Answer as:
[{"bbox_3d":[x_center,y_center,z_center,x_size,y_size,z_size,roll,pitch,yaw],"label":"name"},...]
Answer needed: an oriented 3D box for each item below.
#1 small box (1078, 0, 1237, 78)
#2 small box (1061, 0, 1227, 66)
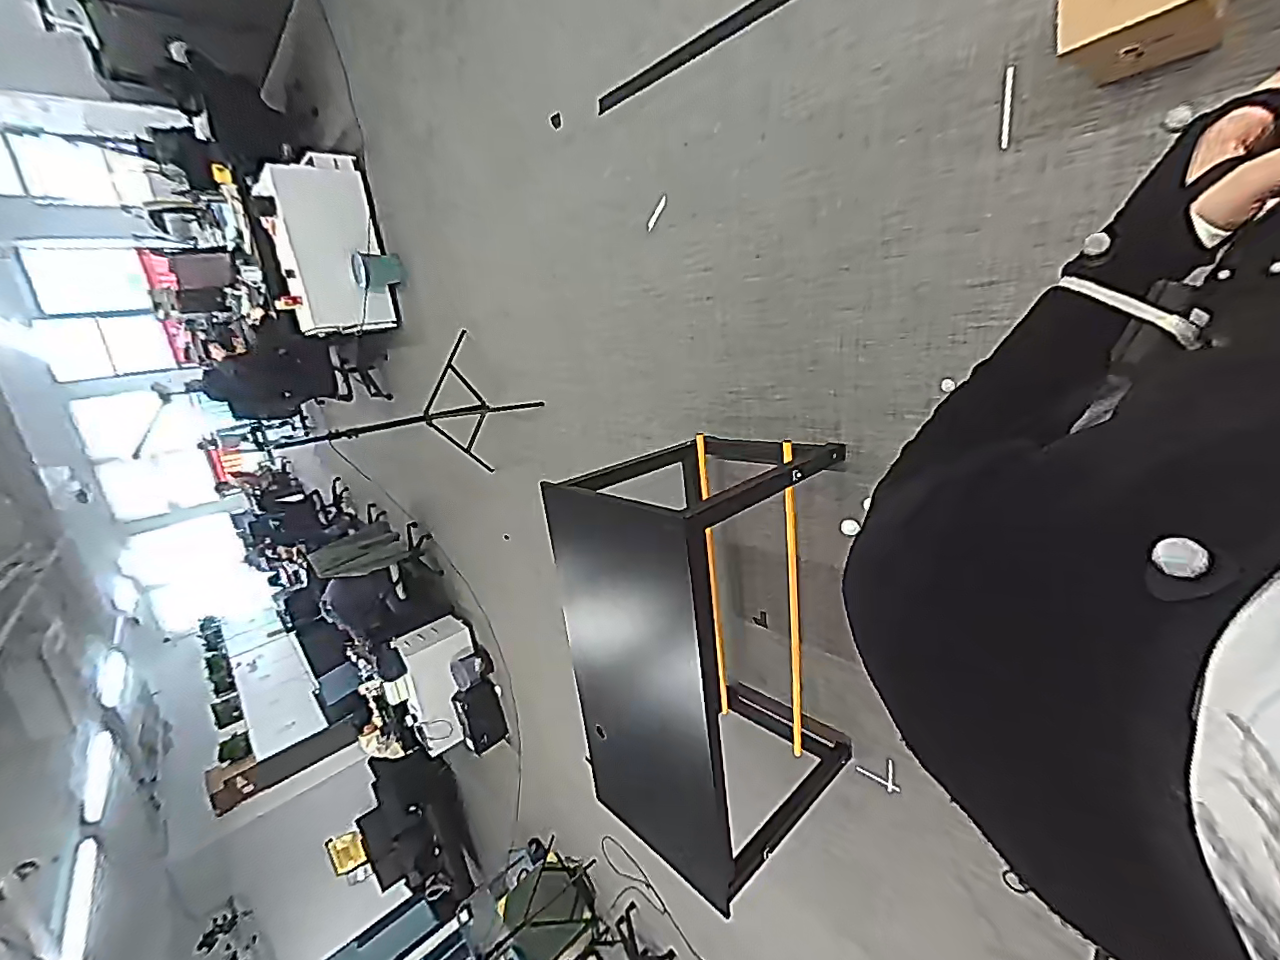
[{"bbox_3d":[0.869,-0.810,0.904,0.179,0.176,0.168,9,113,48],"label":"small box"},{"bbox_3d":[0.752,-0.762,0.803,0.168,0.176,0.179,7,113,51],"label":"small box"}]
